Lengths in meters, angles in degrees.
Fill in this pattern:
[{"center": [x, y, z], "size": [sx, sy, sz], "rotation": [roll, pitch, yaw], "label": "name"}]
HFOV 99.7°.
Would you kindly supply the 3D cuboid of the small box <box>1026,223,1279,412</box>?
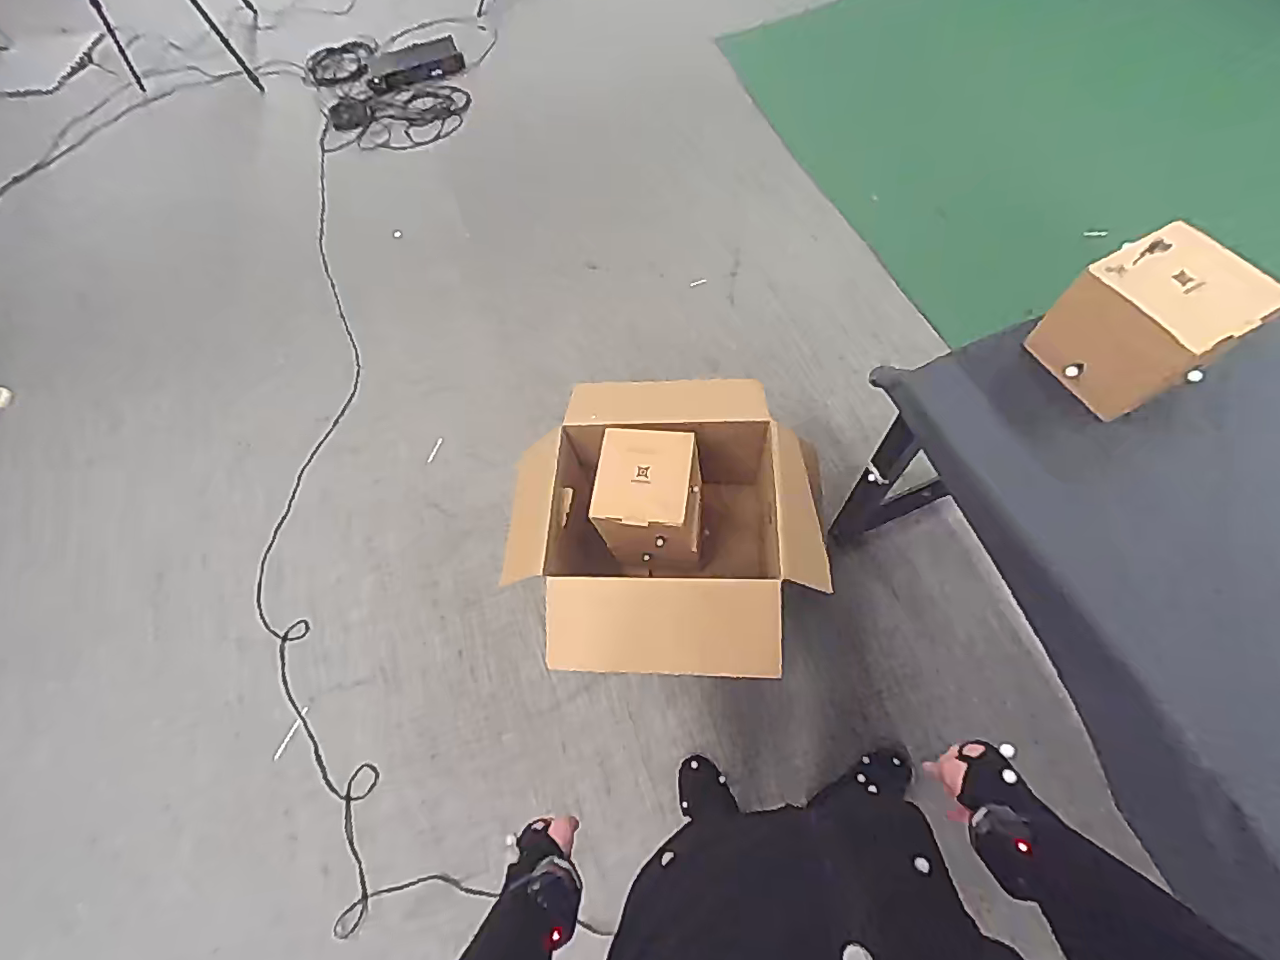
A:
[{"center": [0.723, -0.221, 0.779], "size": [0.168, 0.176, 0.179], "rotation": [-26, 66, -6], "label": "small box"}]
